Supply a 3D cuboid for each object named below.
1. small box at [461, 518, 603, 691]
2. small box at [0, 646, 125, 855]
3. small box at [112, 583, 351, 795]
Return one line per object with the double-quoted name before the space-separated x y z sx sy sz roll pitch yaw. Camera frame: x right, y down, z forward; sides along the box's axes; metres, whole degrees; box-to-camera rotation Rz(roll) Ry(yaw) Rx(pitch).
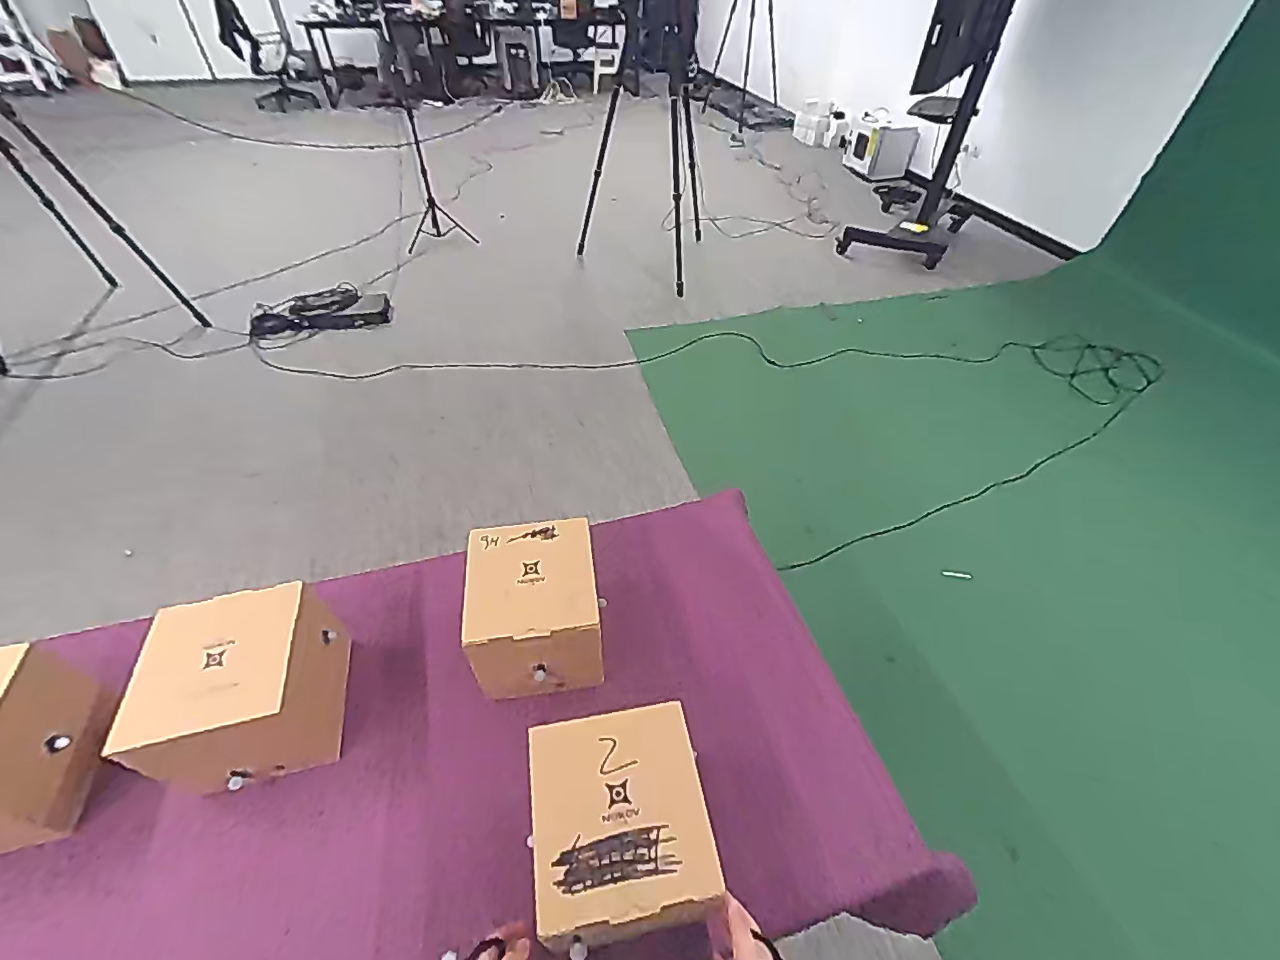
"small box" -0.144 0.180 0.760 0.168 0.176 0.179 -6 47 -7
"small box" -0.758 0.319 0.616 0.179 0.176 0.168 -10 46 -11
"small box" -0.483 0.261 0.679 0.168 0.176 0.179 -11 47 -10
